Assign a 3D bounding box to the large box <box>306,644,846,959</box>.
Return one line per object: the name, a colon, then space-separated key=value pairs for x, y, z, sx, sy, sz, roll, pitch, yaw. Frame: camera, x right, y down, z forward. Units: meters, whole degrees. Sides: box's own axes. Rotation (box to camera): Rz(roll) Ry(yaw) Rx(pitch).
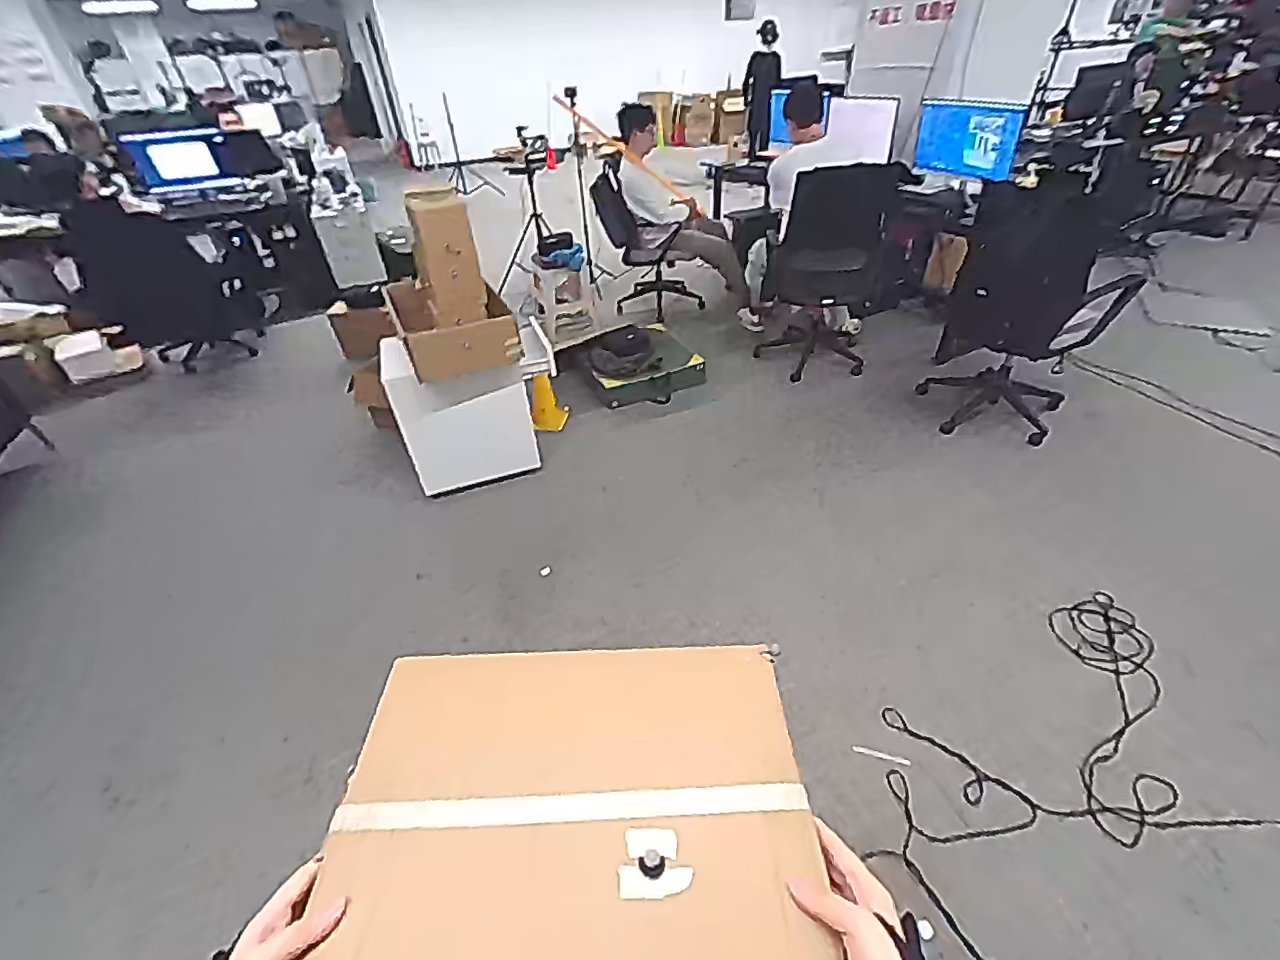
large box: x=-0.055 y=0.401 z=0.575 sx=0.408 sy=0.320 sz=0.320 roll=-1 pitch=39 yaw=-2
